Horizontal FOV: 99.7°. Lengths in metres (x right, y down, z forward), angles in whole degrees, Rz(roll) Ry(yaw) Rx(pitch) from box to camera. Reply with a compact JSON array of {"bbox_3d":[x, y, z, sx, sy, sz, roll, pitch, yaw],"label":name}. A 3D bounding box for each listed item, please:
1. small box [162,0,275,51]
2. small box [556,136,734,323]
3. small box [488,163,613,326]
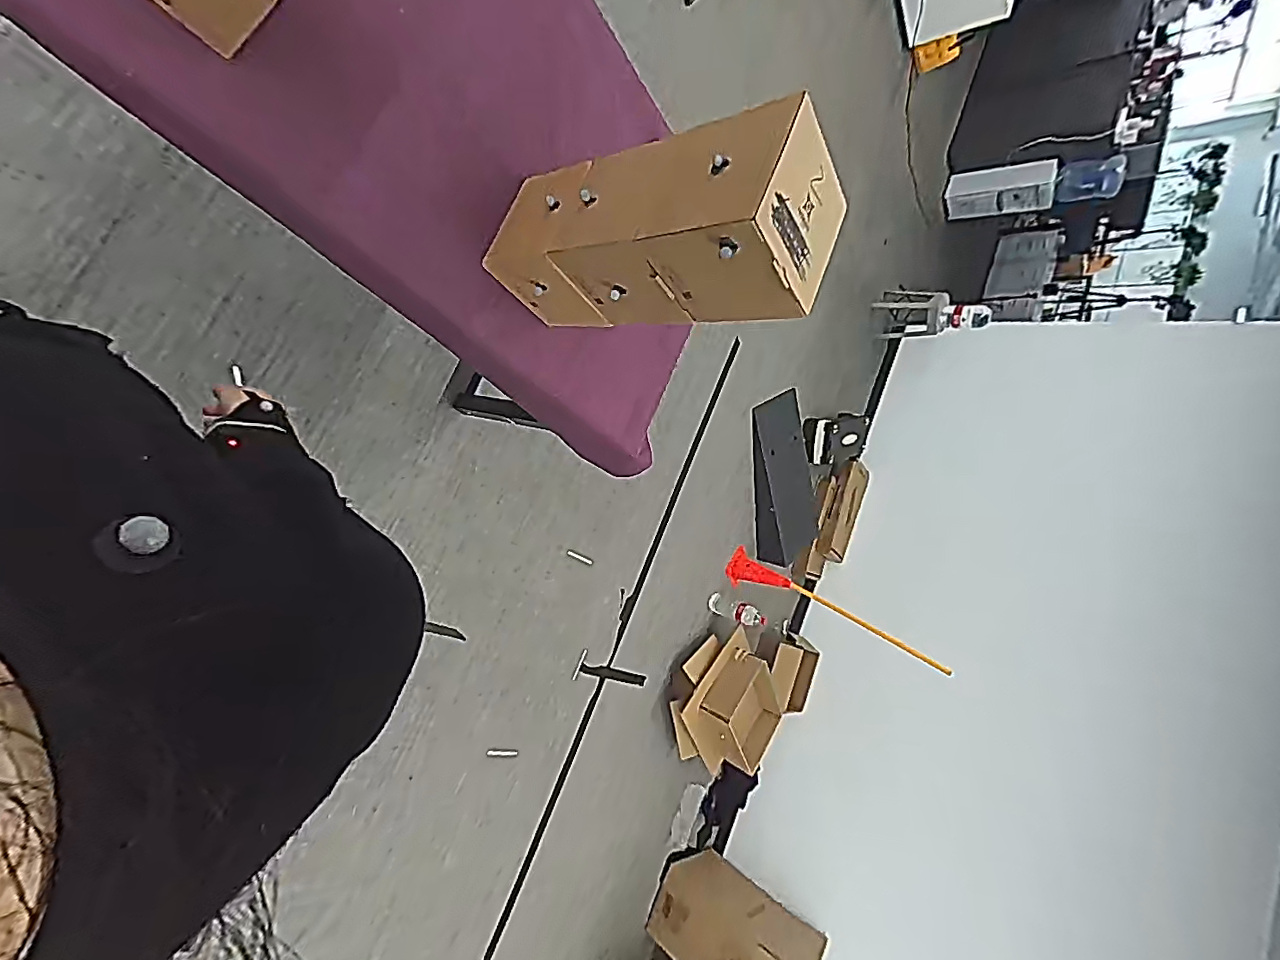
[{"bbox_3d":[-0.407,-0.551,0.493,0.168,0.176,0.179,31,76,-50],"label":"small box"},{"bbox_3d":[0.004,-0.347,0.785,0.168,0.176,0.179,37,72,-48],"label":"small box"},{"bbox_3d":[-0.121,-0.372,0.888,0.168,0.176,0.179,36,72,-48],"label":"small box"}]
